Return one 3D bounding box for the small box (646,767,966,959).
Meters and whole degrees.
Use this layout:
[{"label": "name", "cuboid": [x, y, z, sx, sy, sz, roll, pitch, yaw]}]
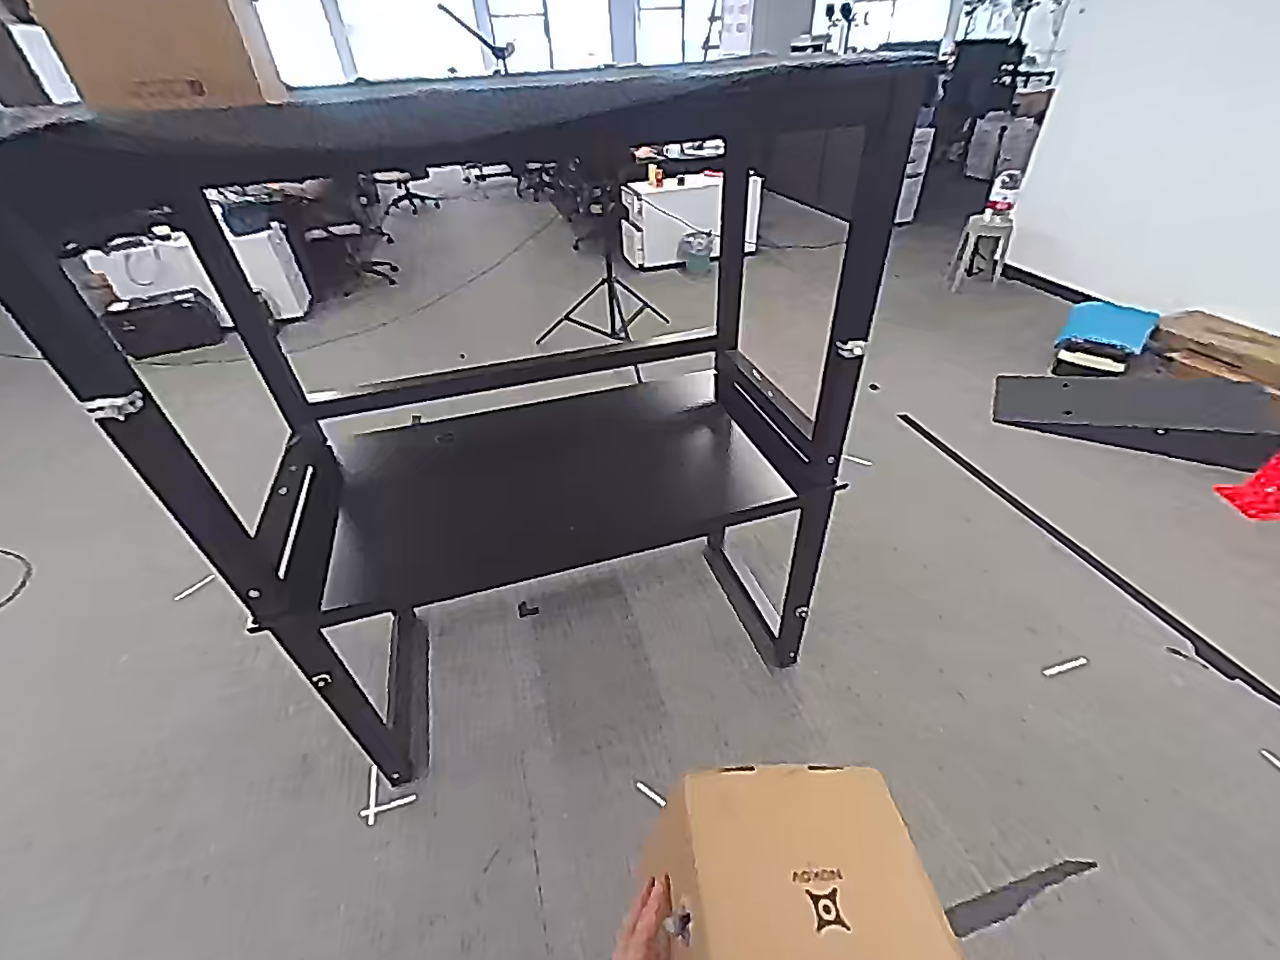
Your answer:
[{"label": "small box", "cuboid": [0.105, 0.337, 0.391, 0.168, 0.176, 0.179, 6, 35, -11]}]
